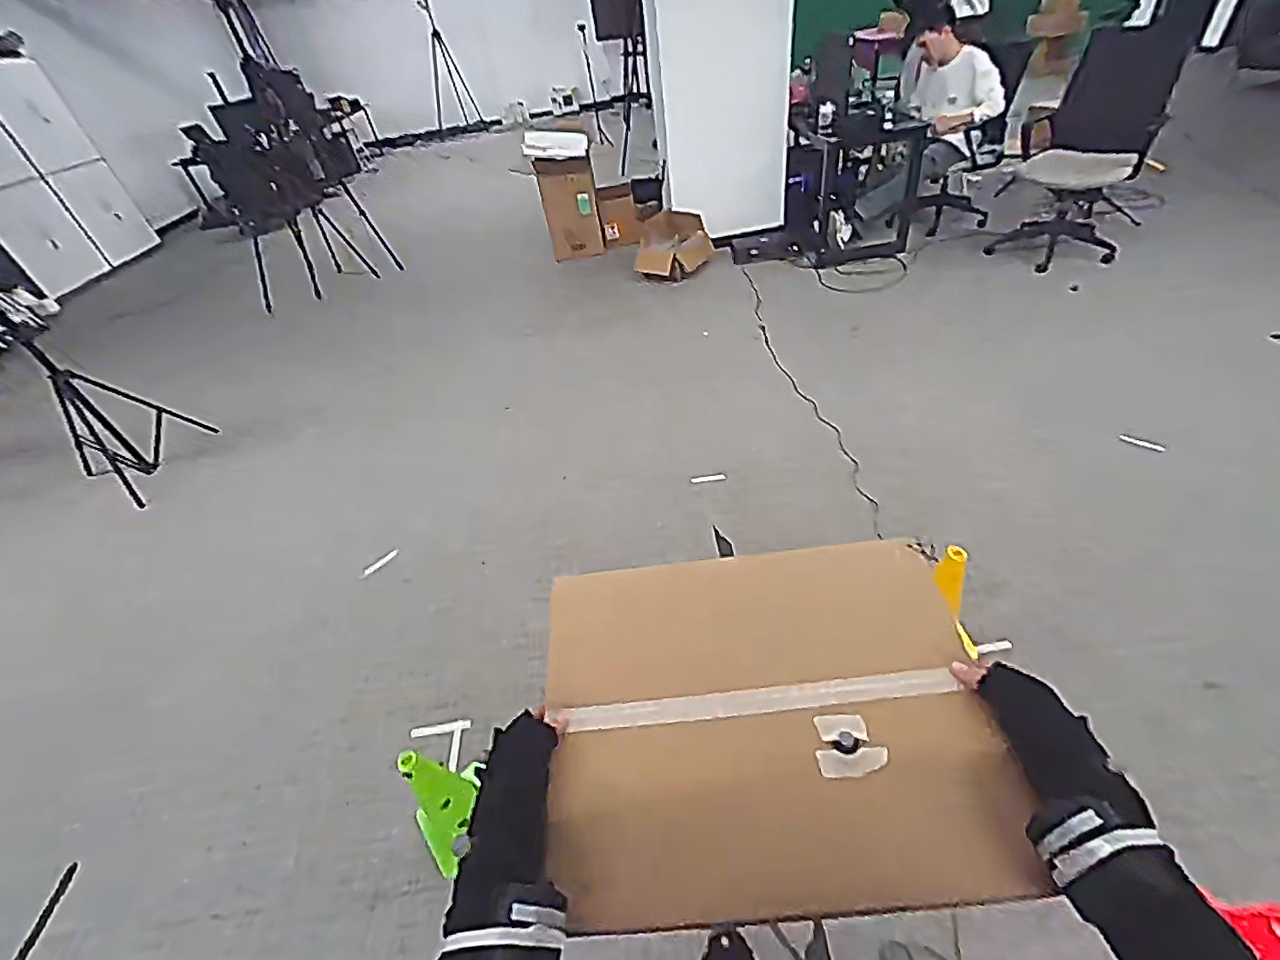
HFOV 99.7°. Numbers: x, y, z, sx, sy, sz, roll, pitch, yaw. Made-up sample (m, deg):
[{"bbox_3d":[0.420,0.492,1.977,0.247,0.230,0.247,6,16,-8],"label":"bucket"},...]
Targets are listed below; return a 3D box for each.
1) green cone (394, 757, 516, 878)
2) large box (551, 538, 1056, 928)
[{"bbox_3d":[-0.466,0.728,1.259,0.202,0.368,0.200,-36,46,-24],"label":"green cone"},{"bbox_3d":[0.129,0.301,0.627,0.408,0.320,0.320,-7,50,3],"label":"large box"}]
